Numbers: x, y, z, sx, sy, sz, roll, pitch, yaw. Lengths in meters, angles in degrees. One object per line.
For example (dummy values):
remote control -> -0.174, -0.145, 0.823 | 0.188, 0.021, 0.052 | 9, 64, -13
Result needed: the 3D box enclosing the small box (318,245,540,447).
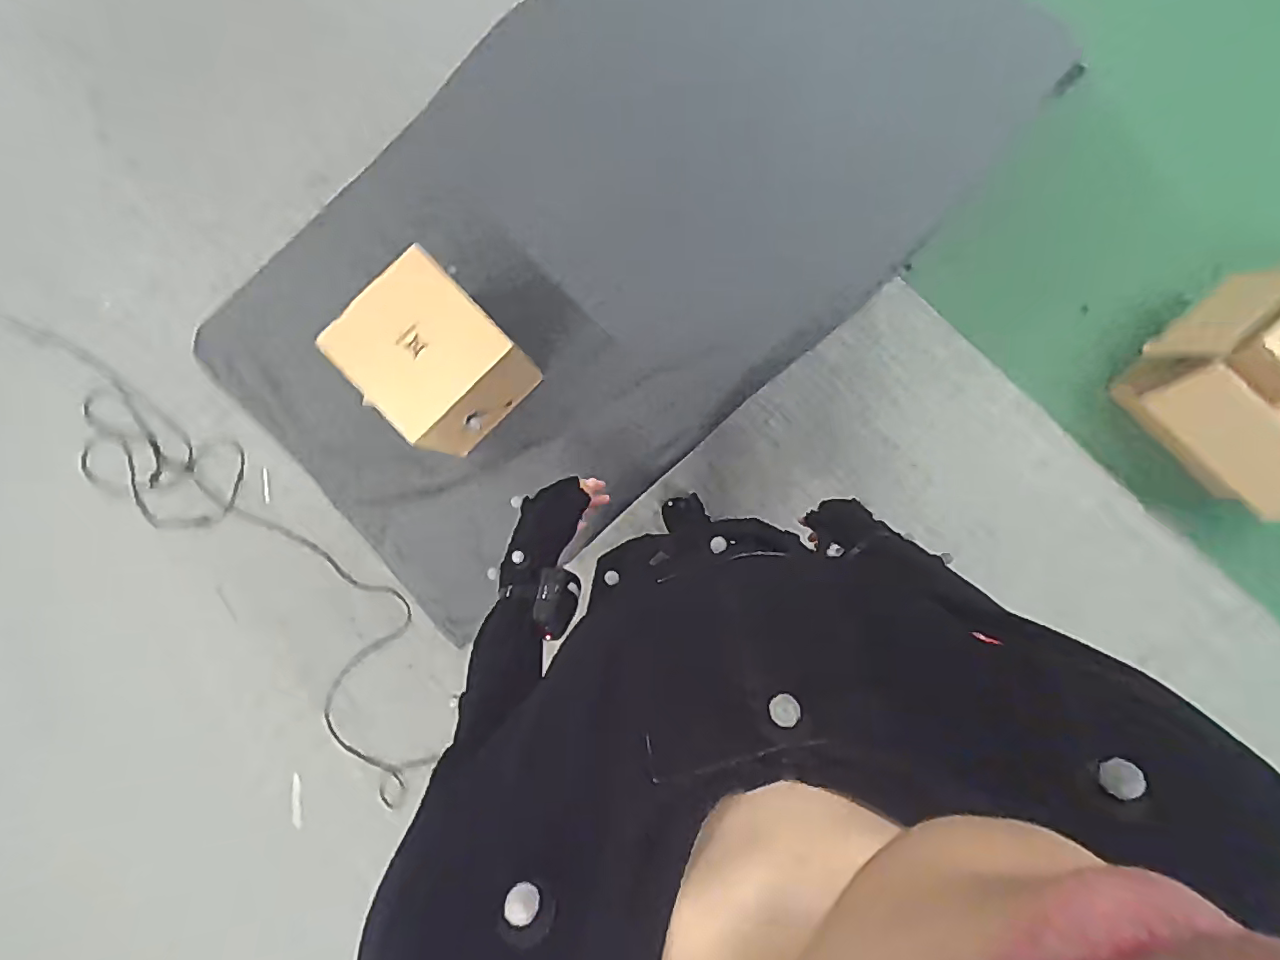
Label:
small box -> -0.256, -0.157, 0.706 | 0.168, 0.176, 0.179 | -45, 85, 0
